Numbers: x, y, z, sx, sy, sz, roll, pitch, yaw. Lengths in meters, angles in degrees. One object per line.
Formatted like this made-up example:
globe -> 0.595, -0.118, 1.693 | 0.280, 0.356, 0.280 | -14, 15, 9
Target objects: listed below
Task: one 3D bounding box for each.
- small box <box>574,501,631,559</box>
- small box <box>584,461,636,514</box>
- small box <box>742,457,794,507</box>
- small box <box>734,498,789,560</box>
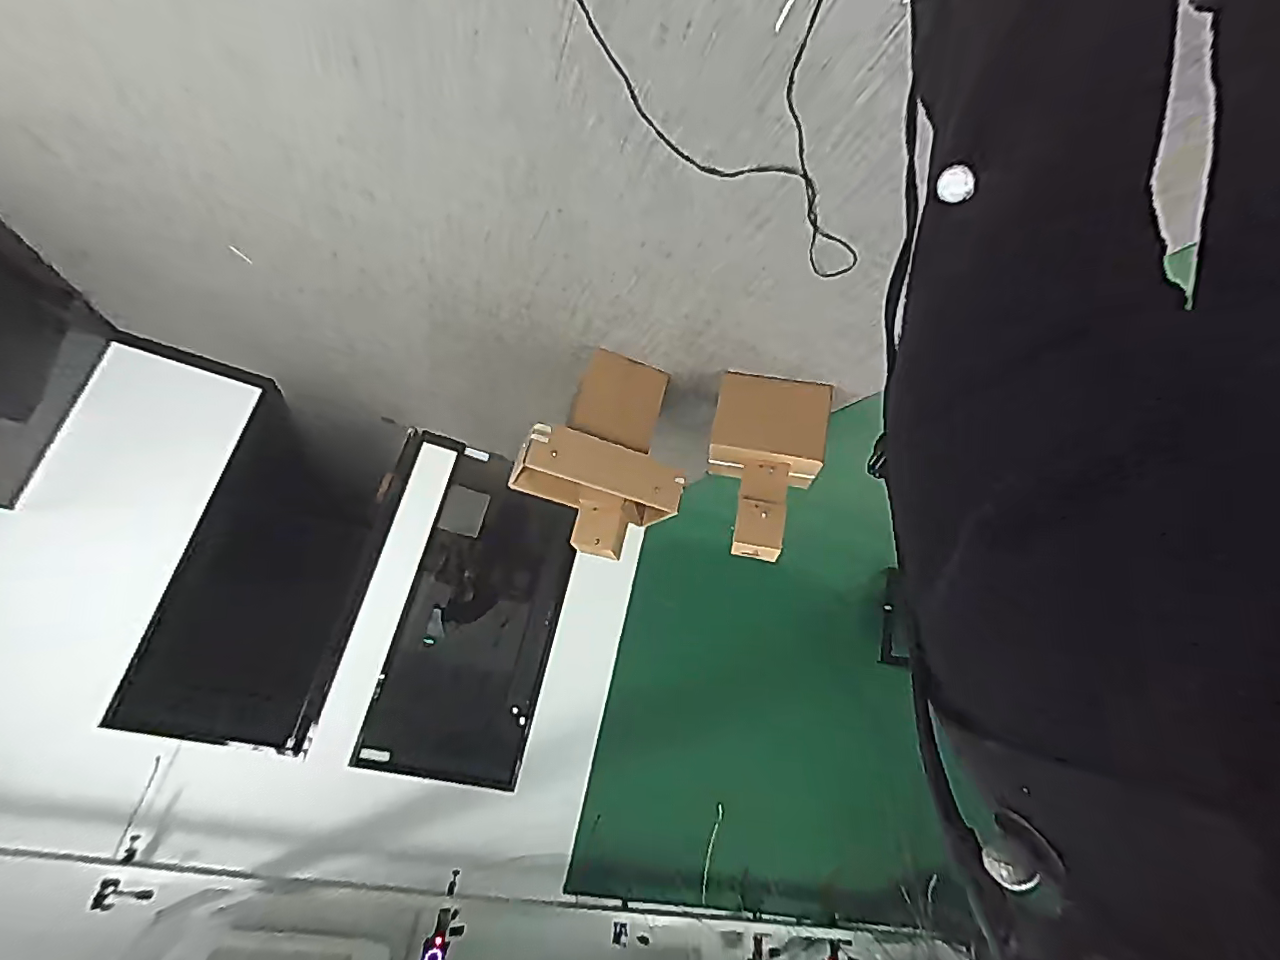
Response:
small box -> -0.139, 0.195, 2.097 | 0.168, 0.176, 0.179 | 10, 162, 12
small box -> -0.115, 0.038, 2.140 | 0.168, 0.176, 0.179 | 12, 162, 7
small box -> 0.478, 0.031, 2.025 | 0.168, 0.176, 0.179 | 8, 161, 14
small box -> 0.441, 0.179, 1.963 | 0.168, 0.176, 0.179 | 9, 161, 10
